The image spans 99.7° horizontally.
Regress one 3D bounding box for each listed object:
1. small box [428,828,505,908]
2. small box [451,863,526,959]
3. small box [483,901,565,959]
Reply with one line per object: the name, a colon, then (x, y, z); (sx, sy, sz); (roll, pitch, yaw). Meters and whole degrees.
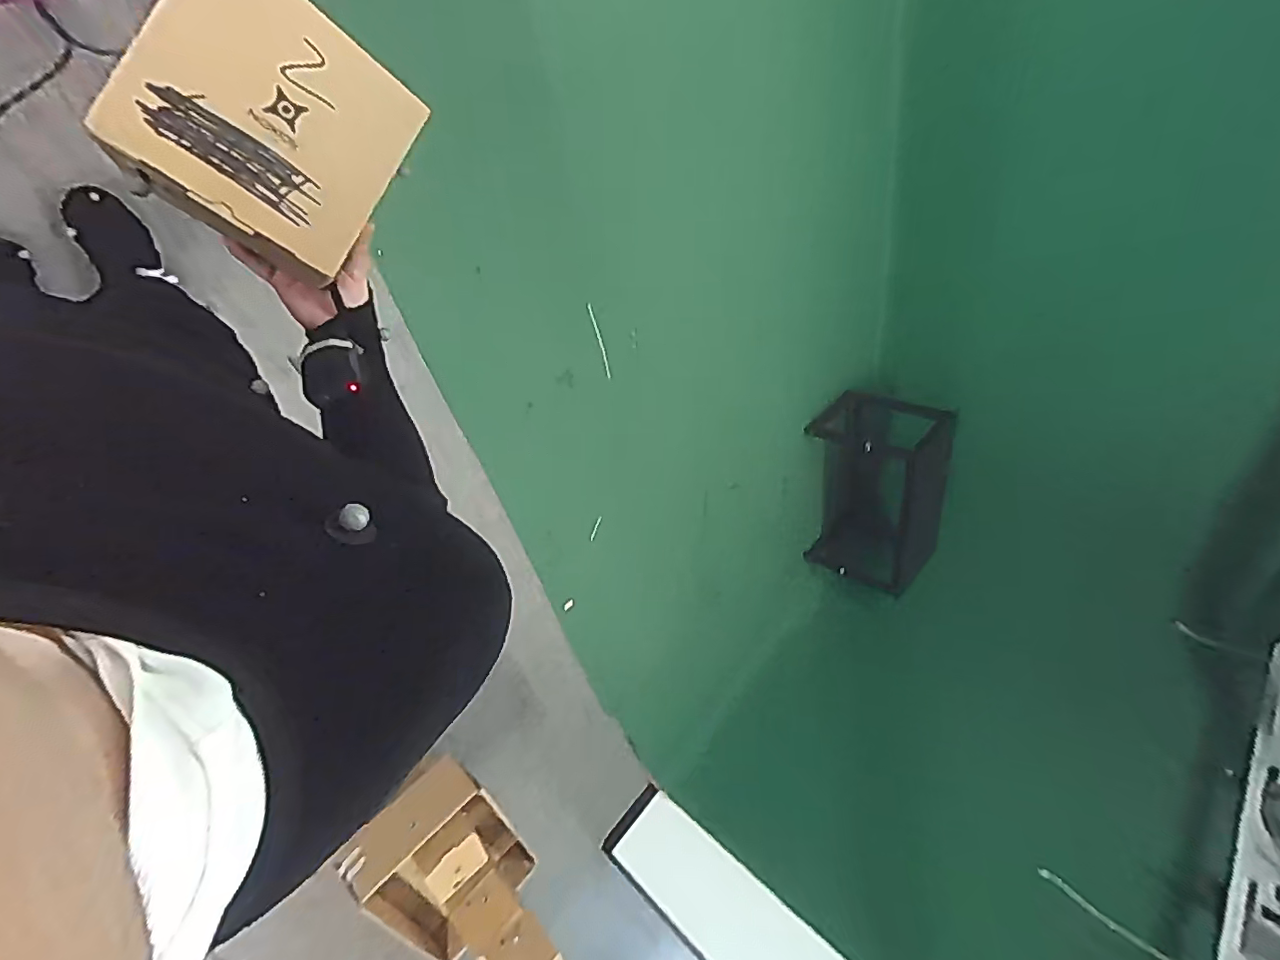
small box: (-0.571, 1.311, 1.800); (0.168, 0.176, 0.179); (-39, 132, -30)
small box: (-0.457, 1.355, 1.694); (0.168, 0.176, 0.179); (-39, 131, -29)
small box: (-0.337, 1.404, 1.592); (0.168, 0.176, 0.179); (-30, 126, -35)
